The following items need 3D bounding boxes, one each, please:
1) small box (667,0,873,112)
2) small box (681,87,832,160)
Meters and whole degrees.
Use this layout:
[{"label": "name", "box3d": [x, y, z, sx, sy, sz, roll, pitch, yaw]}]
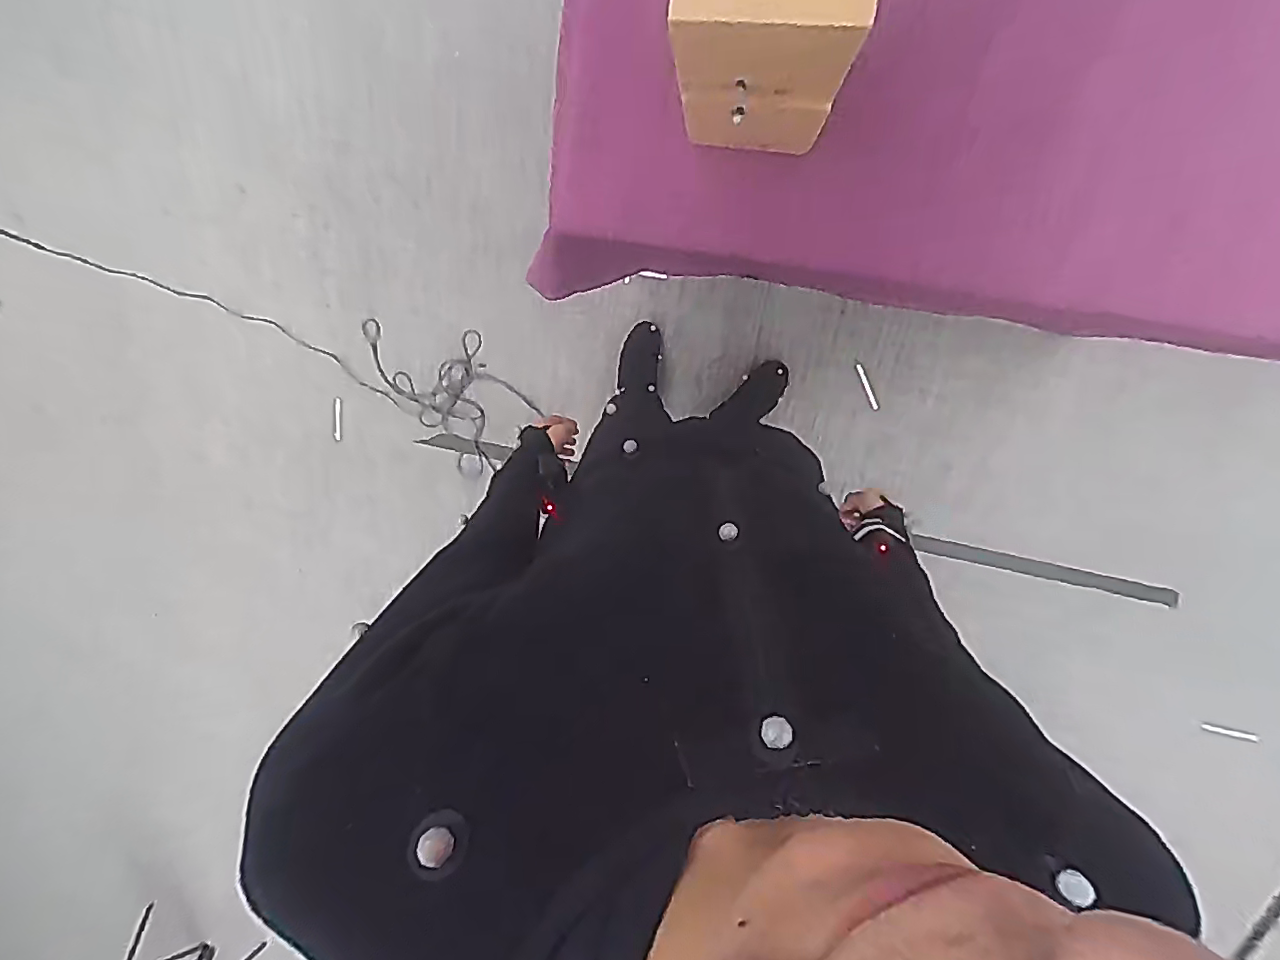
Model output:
[{"label": "small box", "box3d": [0.120, -0.470, 0.490, 0.168, 0.176, 0.179, 8, 107, 6]}, {"label": "small box", "box3d": [0.146, -0.513, 0.646, 0.168, 0.176, 0.179, 9, 107, 5]}]
